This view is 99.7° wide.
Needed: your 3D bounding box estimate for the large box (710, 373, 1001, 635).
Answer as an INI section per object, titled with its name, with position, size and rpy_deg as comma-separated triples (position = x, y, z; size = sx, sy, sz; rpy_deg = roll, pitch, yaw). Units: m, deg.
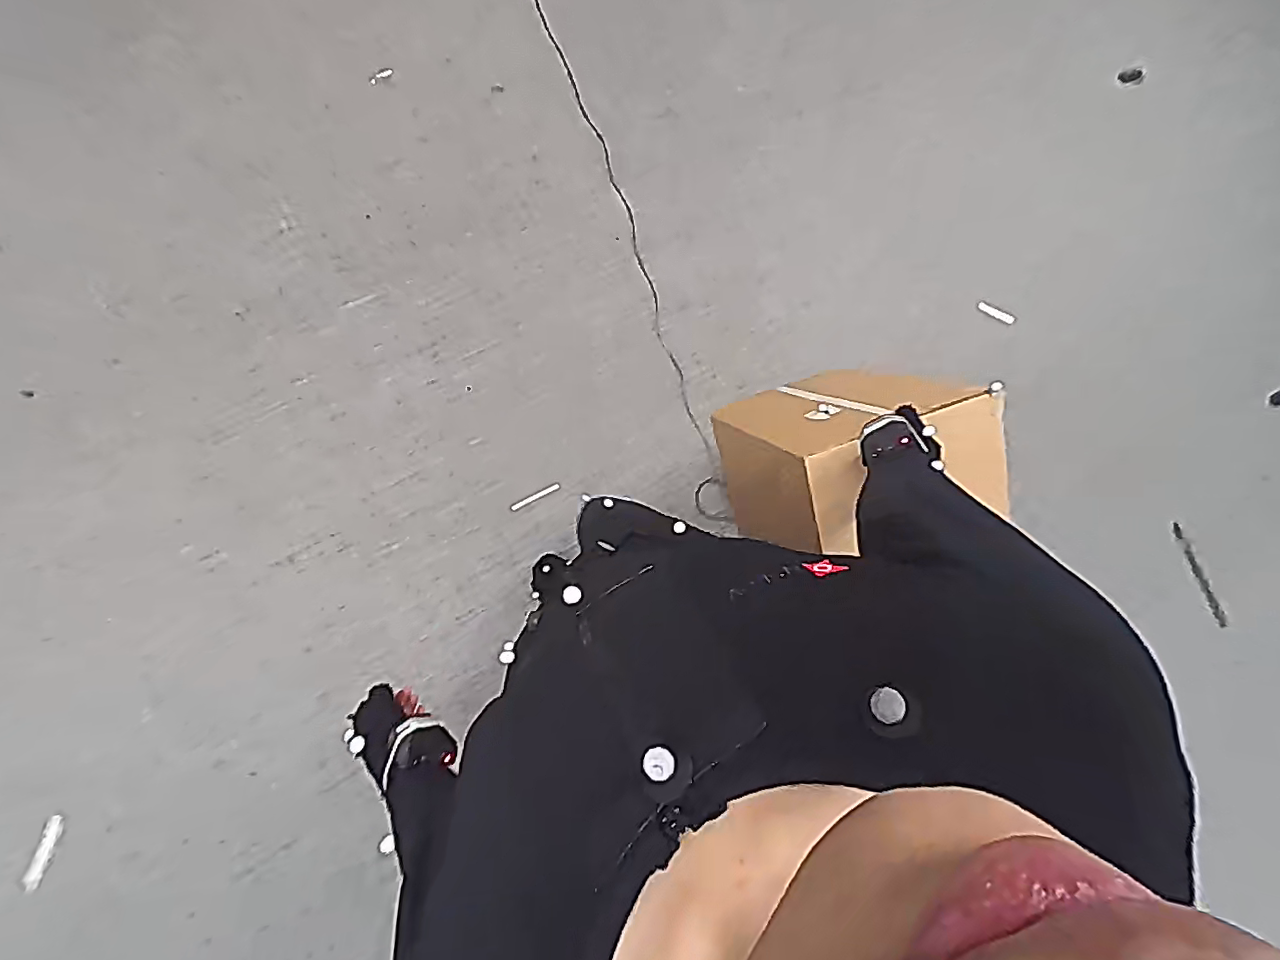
[large box]
position = 0.369, 0.010, 0.999
size = 0.320, 0.408, 0.320
rpy_deg = -20, 110, -7
